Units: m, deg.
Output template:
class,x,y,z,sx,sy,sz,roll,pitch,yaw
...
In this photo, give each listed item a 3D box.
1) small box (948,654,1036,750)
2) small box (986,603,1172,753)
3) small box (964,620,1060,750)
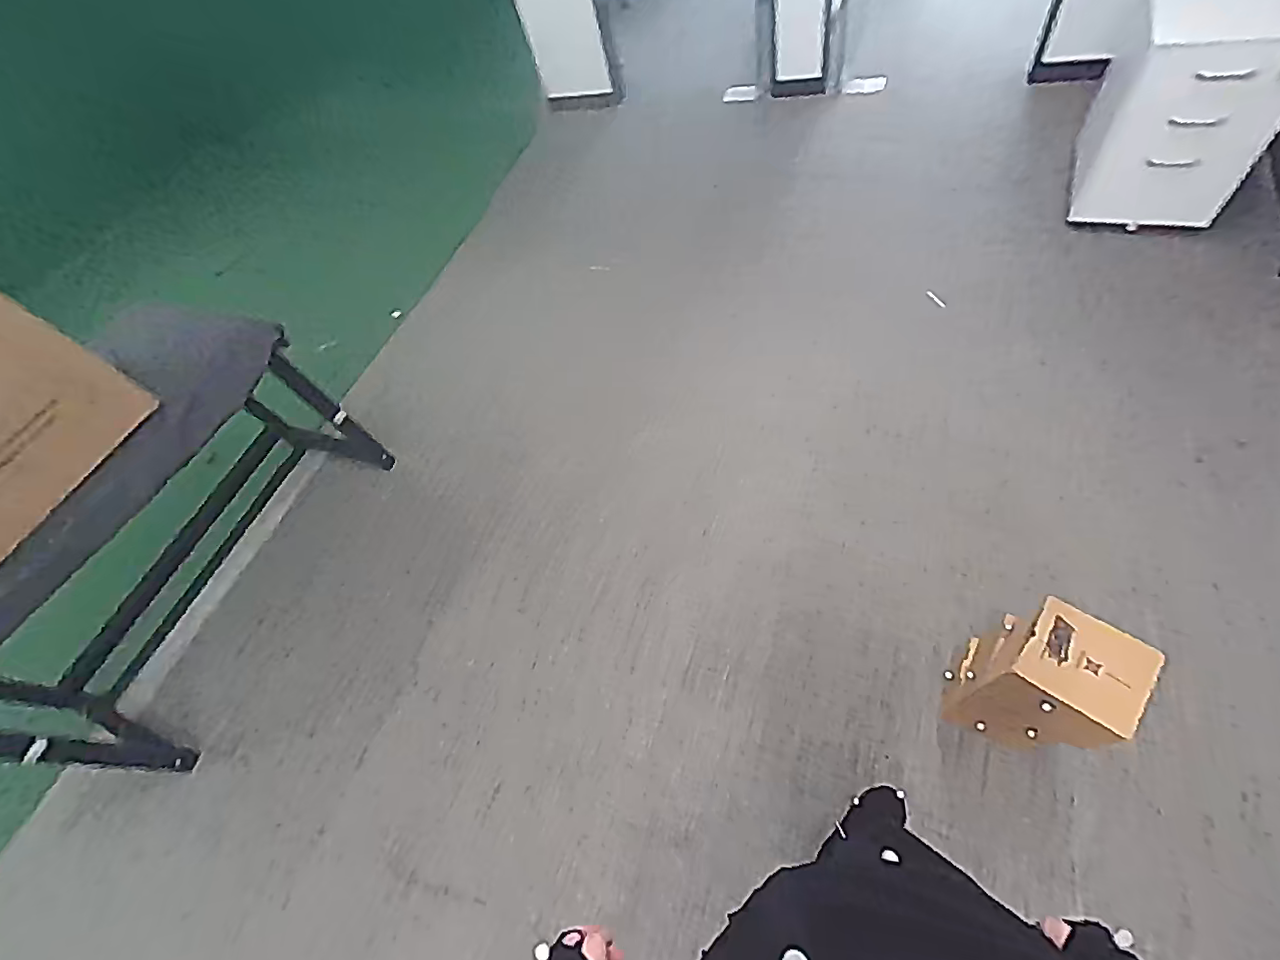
class,x,y,z,sx,sy,sz,roll,pitch,yaw
small box,0.831,0.504,1.230,0.168,0.176,0.179,-7,55,9
small box,0.756,0.355,0.955,0.179,0.176,0.168,36,74,30
small box,0.791,0.423,1.104,0.168,0.176,0.179,25,66,26
